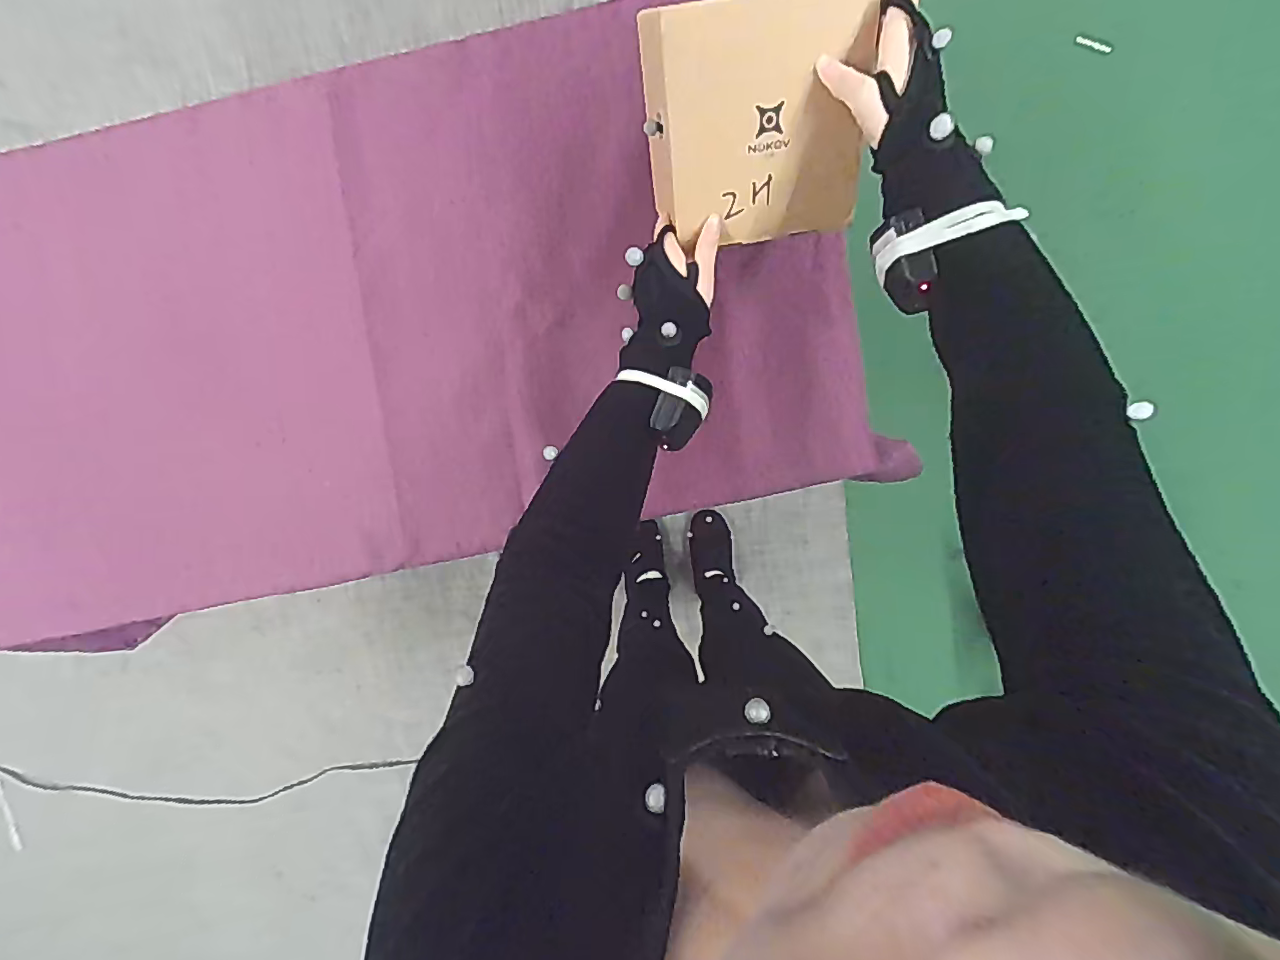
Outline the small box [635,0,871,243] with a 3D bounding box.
[{"bbox_3d":[0.091,-0.346,0.506,0.168,0.176,0.179,-8,131,0],"label":"small box"}]
